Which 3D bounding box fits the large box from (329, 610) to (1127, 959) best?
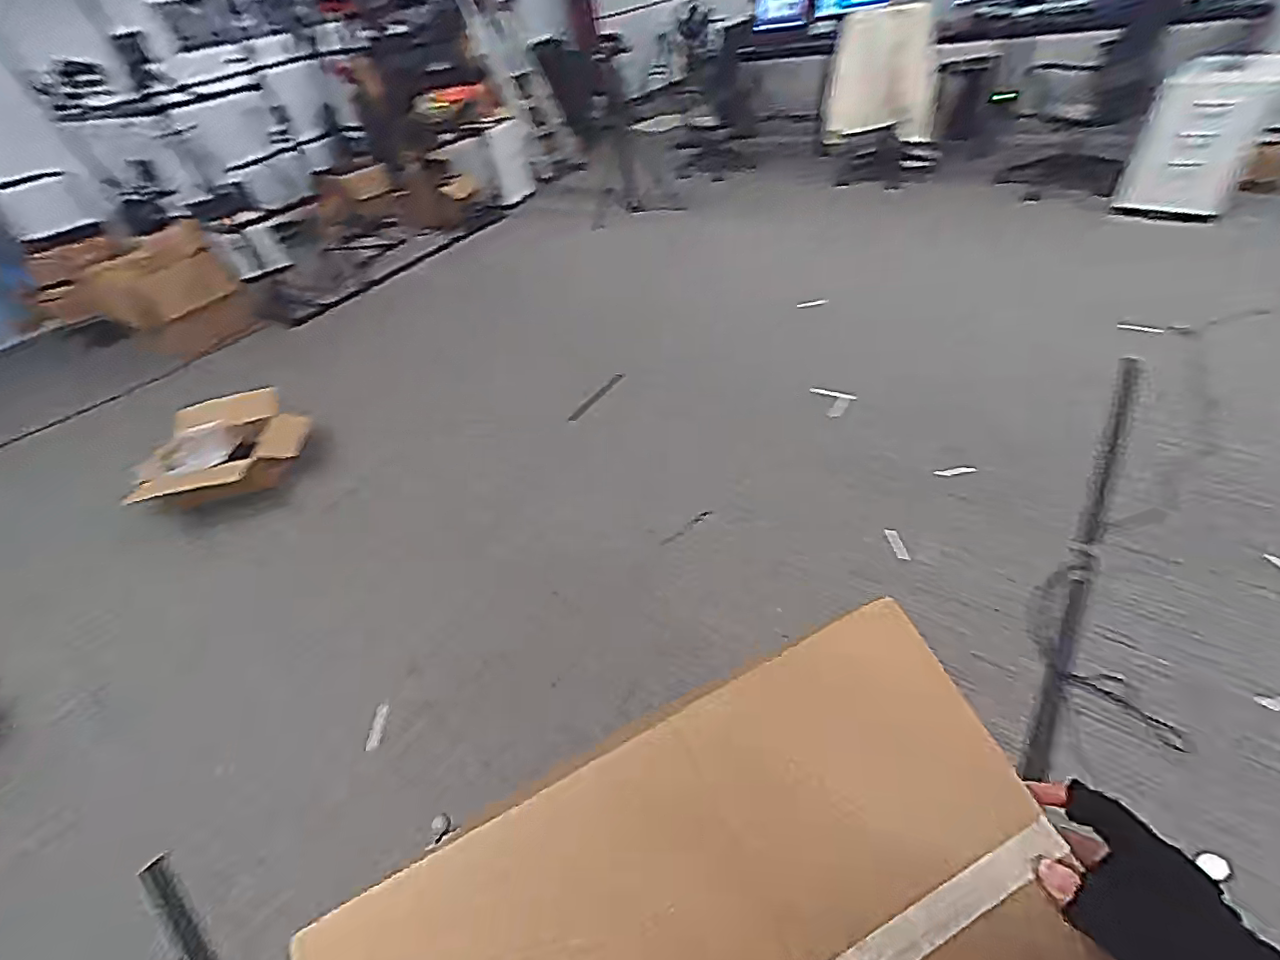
[{"bbox_3d":[0.066,0.355,0.424,0.408,0.320,0.320,-25,70,-9],"label":"large box"}]
